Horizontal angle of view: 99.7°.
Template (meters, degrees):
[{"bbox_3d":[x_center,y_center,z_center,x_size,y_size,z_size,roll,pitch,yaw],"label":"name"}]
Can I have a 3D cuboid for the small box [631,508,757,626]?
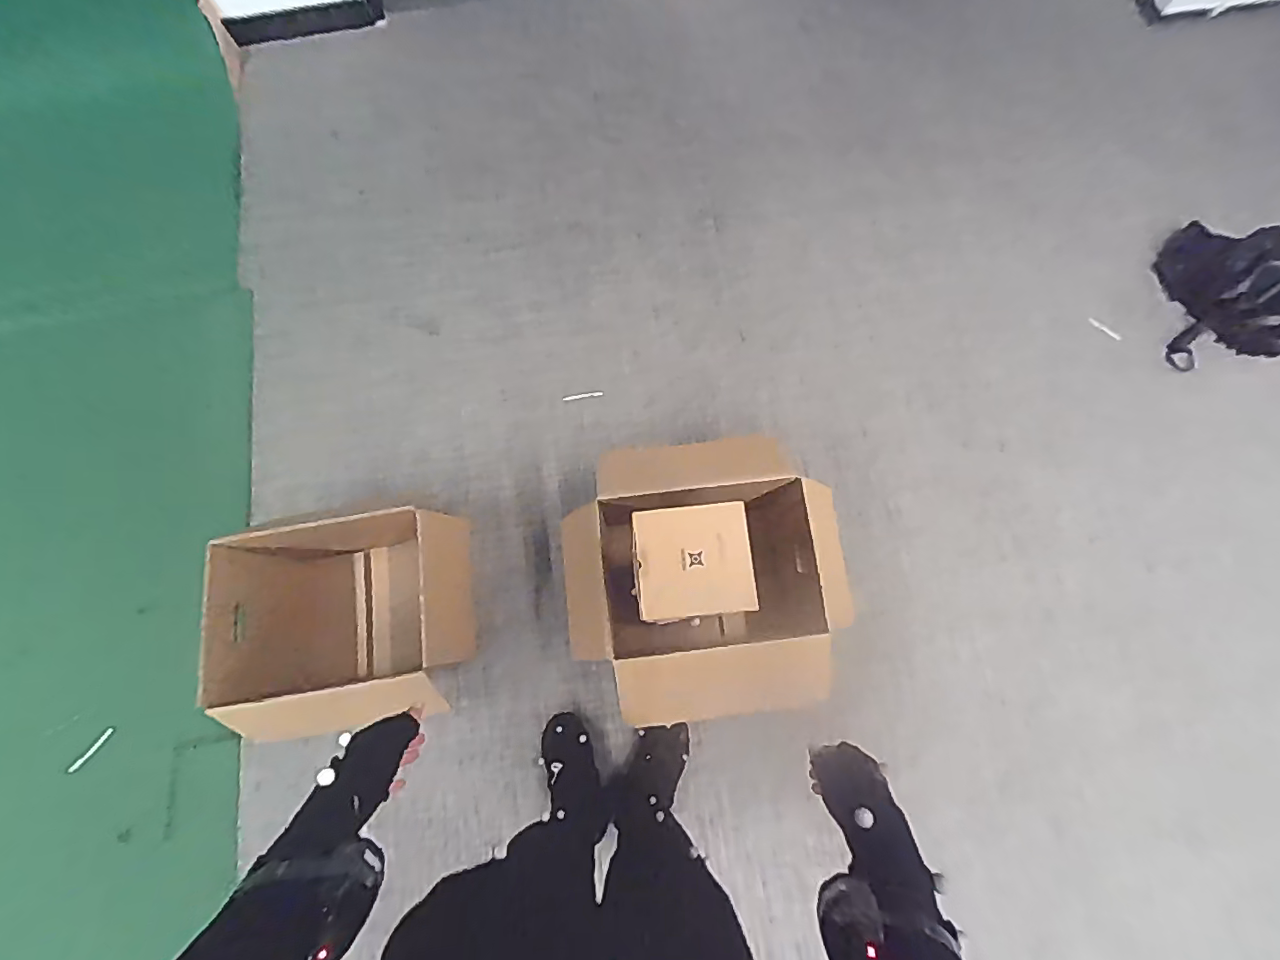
[{"bbox_3d":[0.084,0.151,0.897,0.179,0.176,0.168,-7,76,1],"label":"small box"}]
